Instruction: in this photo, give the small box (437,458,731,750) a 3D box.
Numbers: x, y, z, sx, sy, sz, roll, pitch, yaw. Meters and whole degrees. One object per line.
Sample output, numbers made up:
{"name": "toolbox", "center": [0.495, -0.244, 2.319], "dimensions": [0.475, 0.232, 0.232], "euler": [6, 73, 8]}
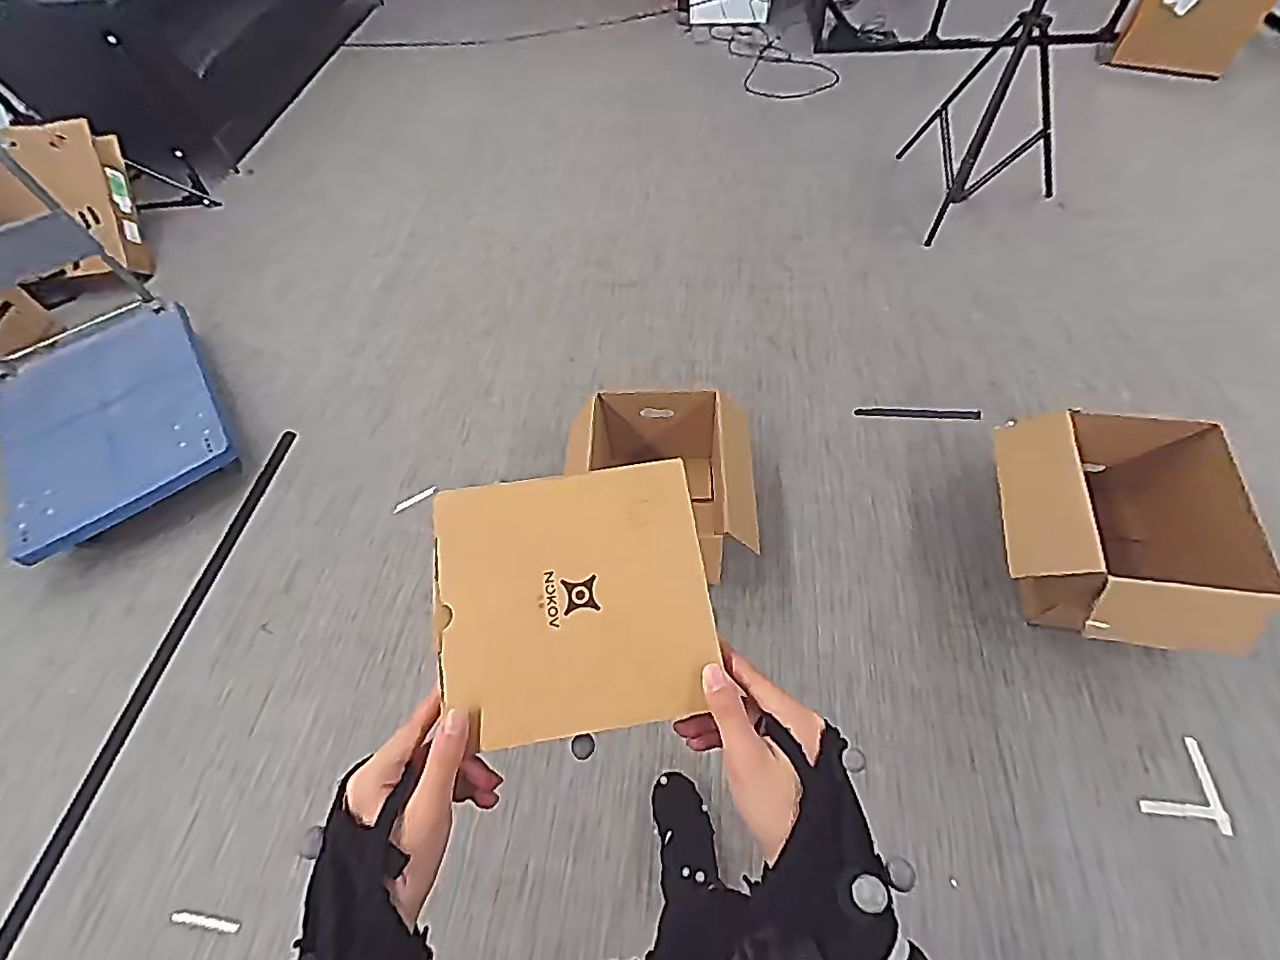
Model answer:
{"name": "small box", "center": [-0.042, 0.097, 0.424], "dimensions": [0.179, 0.176, 0.168], "euler": [-9, 71, -3]}
